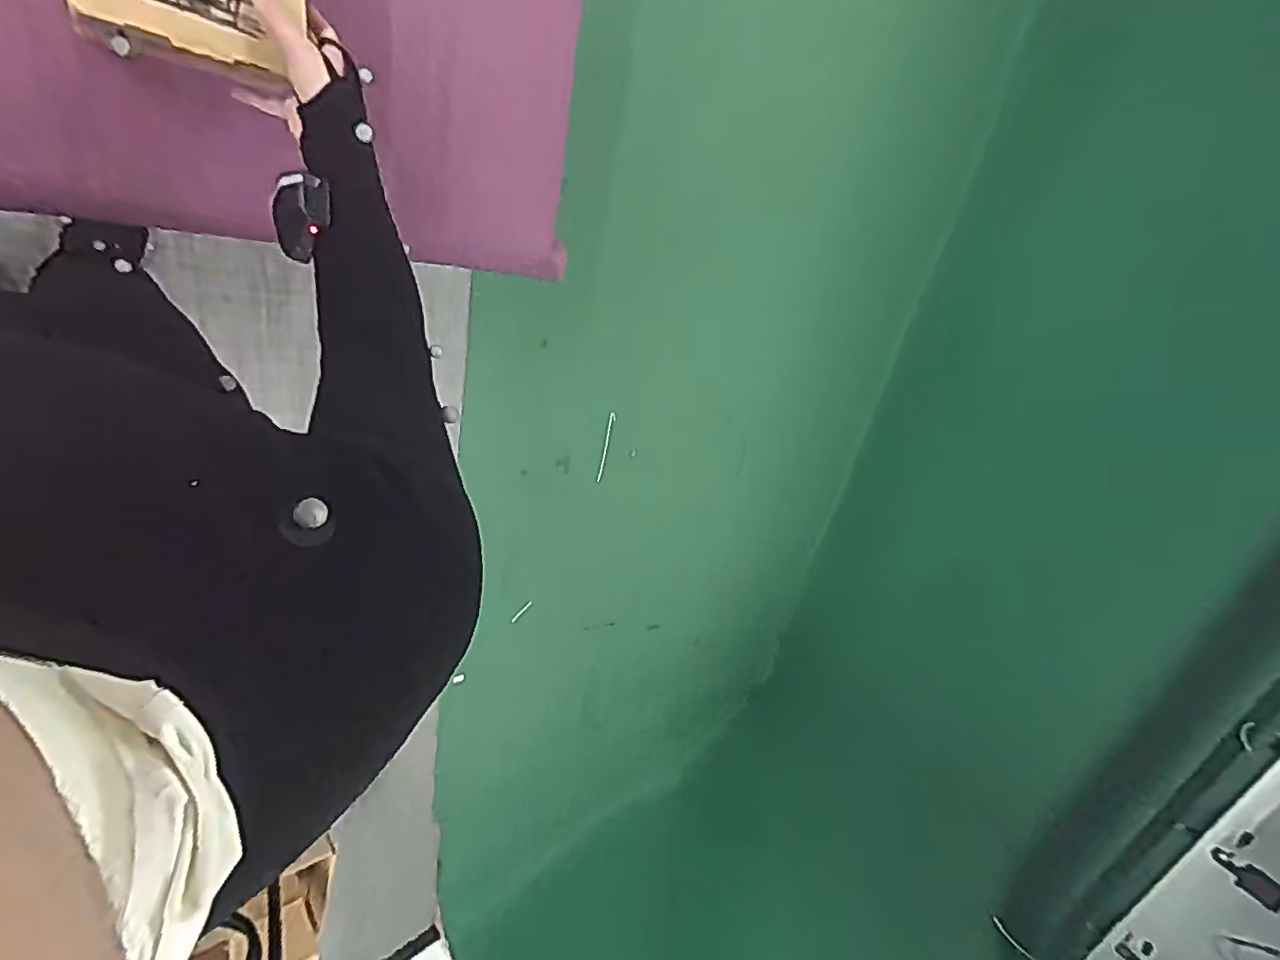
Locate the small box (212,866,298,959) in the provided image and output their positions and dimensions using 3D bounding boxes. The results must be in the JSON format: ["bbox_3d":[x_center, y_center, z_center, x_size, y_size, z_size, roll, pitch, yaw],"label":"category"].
[{"bbox_3d":[-1.127,1.286,1.579,0.179,0.176,0.168,-6,119,-45],"label":"small box"}]

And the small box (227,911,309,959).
[{"bbox_3d":[-1.016,1.344,1.476,0.168,0.176,0.179,-6,120,-43],"label":"small box"}]
